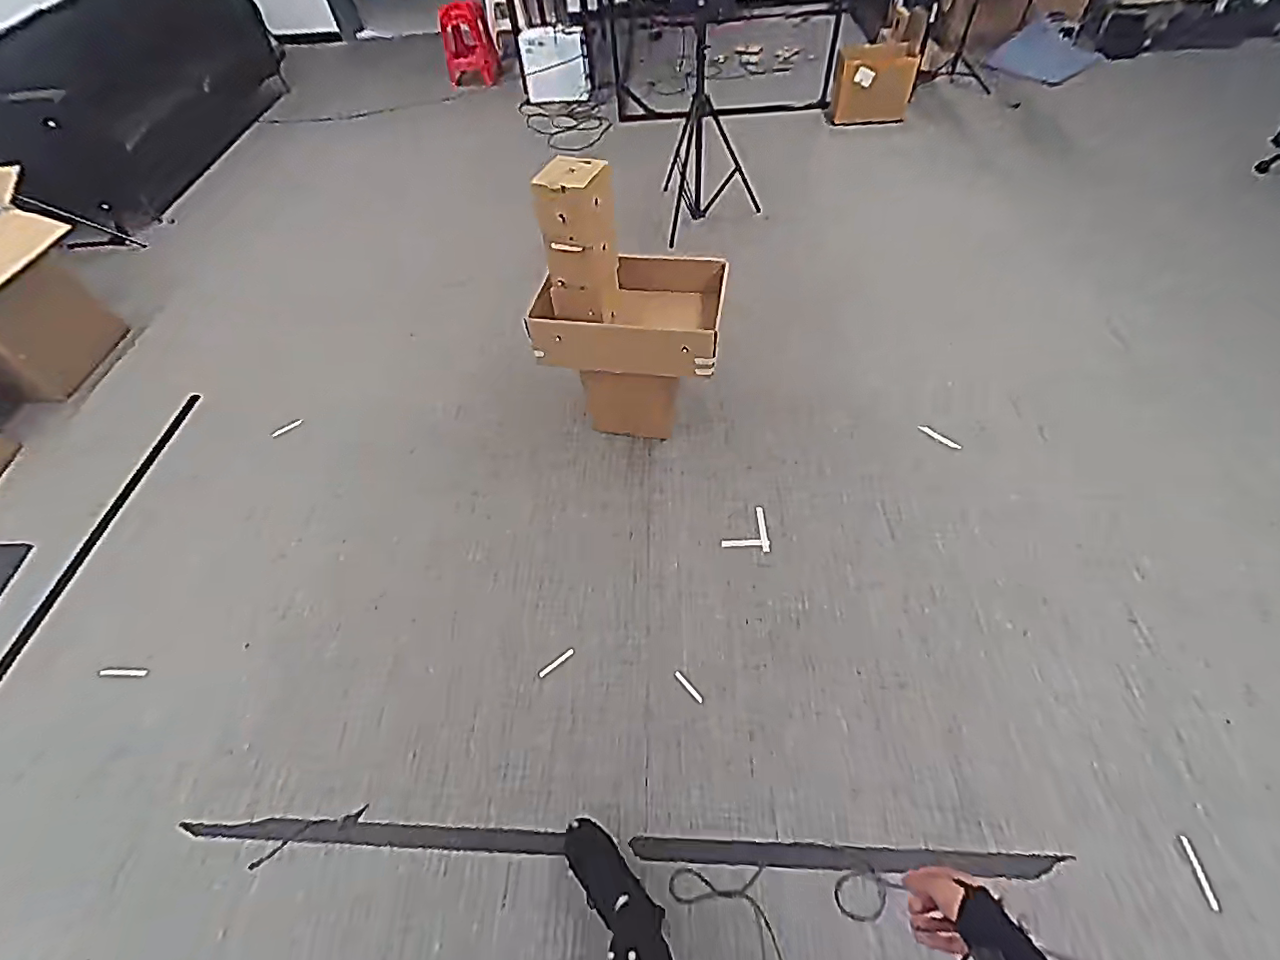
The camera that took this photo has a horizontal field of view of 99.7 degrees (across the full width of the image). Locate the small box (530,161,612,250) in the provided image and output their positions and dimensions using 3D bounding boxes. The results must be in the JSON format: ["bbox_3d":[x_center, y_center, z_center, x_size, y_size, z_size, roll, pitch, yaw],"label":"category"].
[{"bbox_3d":[-0.190,-0.793,1.569,0.168,0.176,0.179,16,56,16],"label":"small box"}]

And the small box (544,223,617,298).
[{"bbox_3d":[-0.180,-0.698,1.703,0.168,0.176,0.179,13,54,14],"label":"small box"}]
